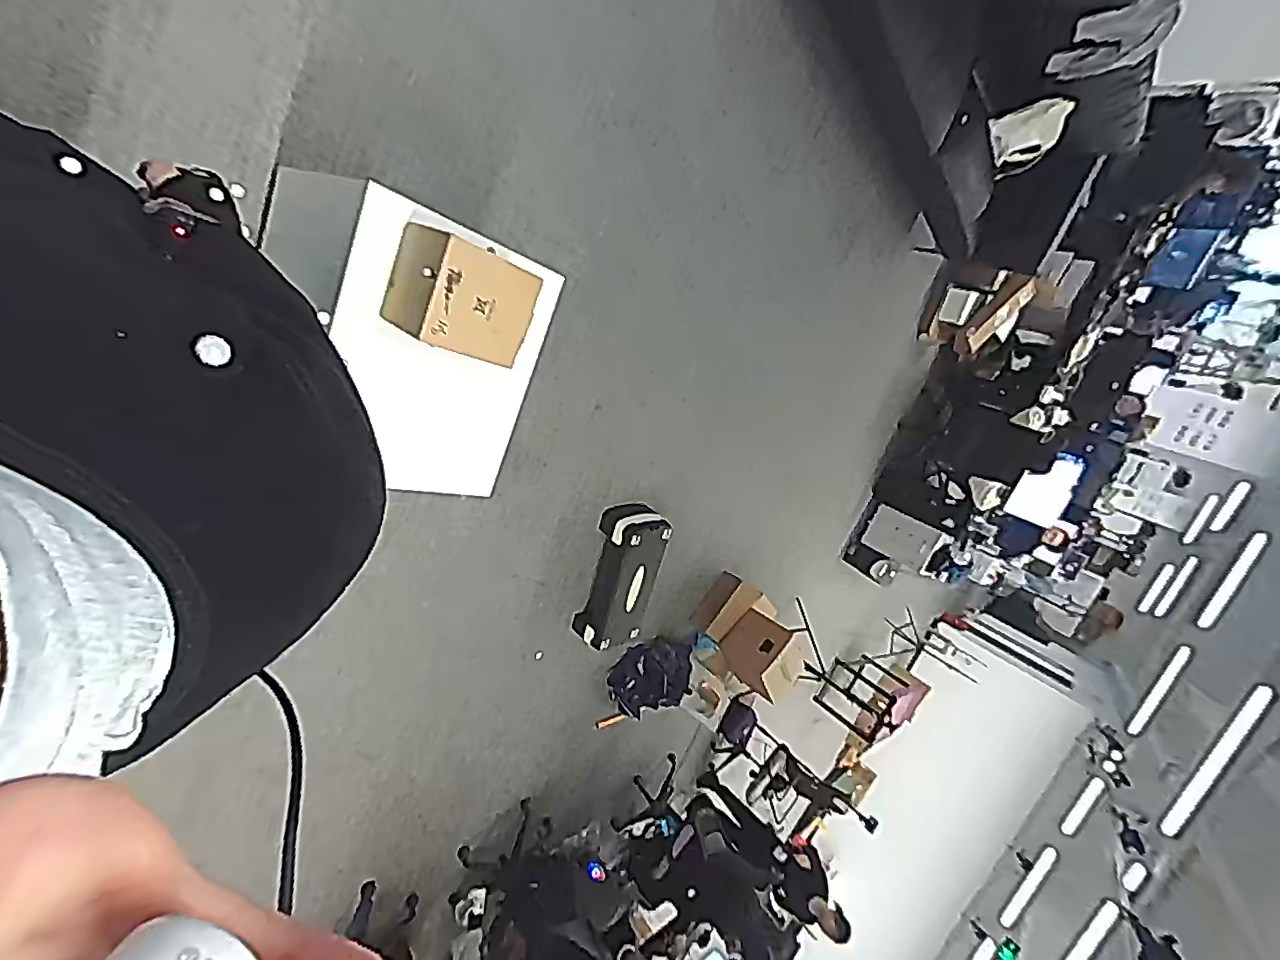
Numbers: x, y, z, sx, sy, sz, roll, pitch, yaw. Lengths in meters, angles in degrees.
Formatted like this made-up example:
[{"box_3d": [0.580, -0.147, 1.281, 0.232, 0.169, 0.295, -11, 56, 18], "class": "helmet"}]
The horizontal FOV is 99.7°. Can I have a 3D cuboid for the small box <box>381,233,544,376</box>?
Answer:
[{"box_3d": [-0.300, -0.296, 0.910, 0.179, 0.176, 0.168, 9, 107, -50], "class": "small box"}]
